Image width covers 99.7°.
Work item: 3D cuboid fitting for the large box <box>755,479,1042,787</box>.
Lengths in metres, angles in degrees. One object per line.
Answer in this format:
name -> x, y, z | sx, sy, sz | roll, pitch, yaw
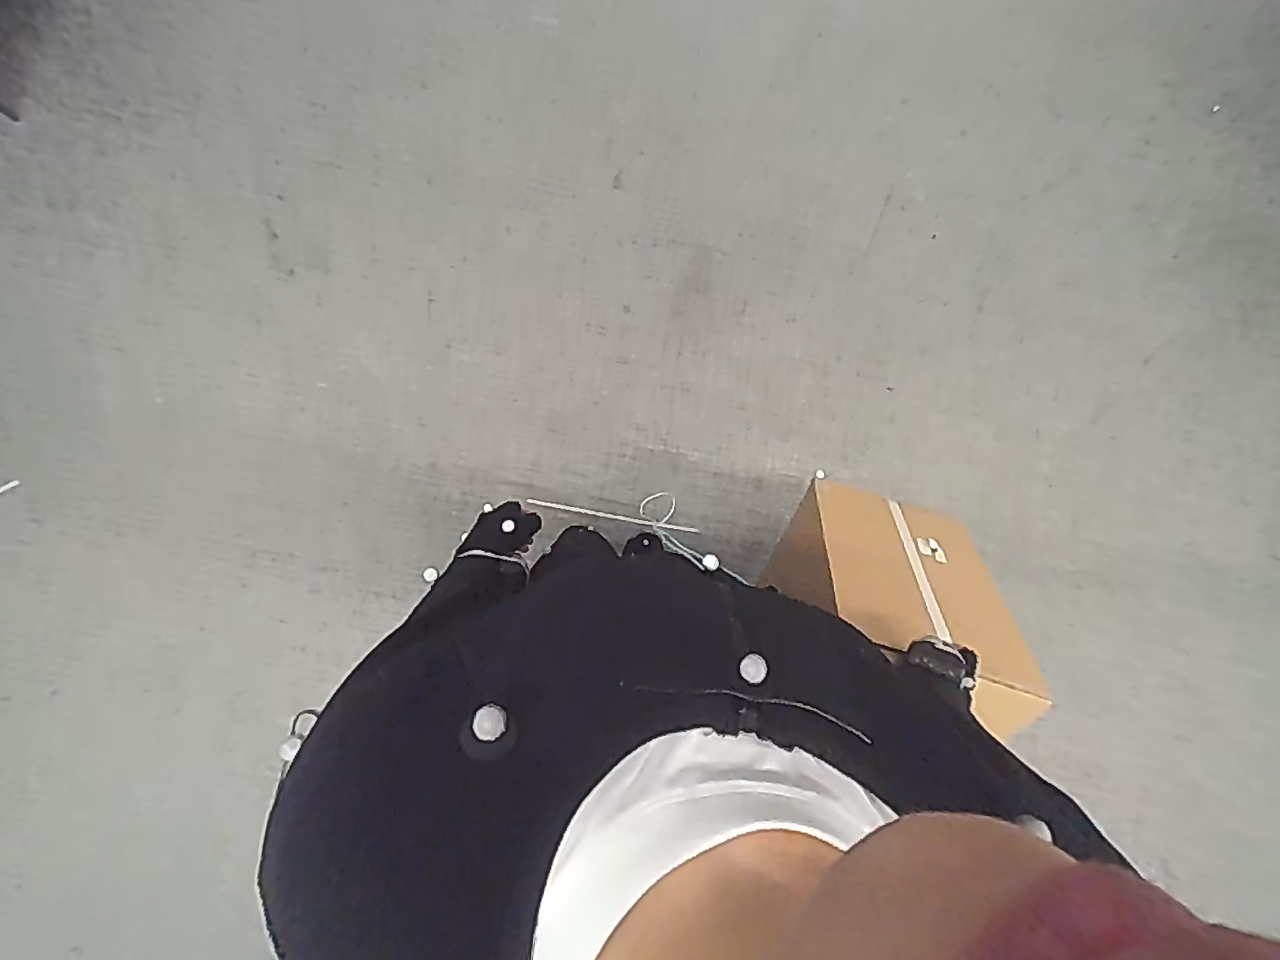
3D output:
large box -> 0.414, 0.266, 1.000 | 0.320, 0.408, 0.320 | 19, 124, -1
